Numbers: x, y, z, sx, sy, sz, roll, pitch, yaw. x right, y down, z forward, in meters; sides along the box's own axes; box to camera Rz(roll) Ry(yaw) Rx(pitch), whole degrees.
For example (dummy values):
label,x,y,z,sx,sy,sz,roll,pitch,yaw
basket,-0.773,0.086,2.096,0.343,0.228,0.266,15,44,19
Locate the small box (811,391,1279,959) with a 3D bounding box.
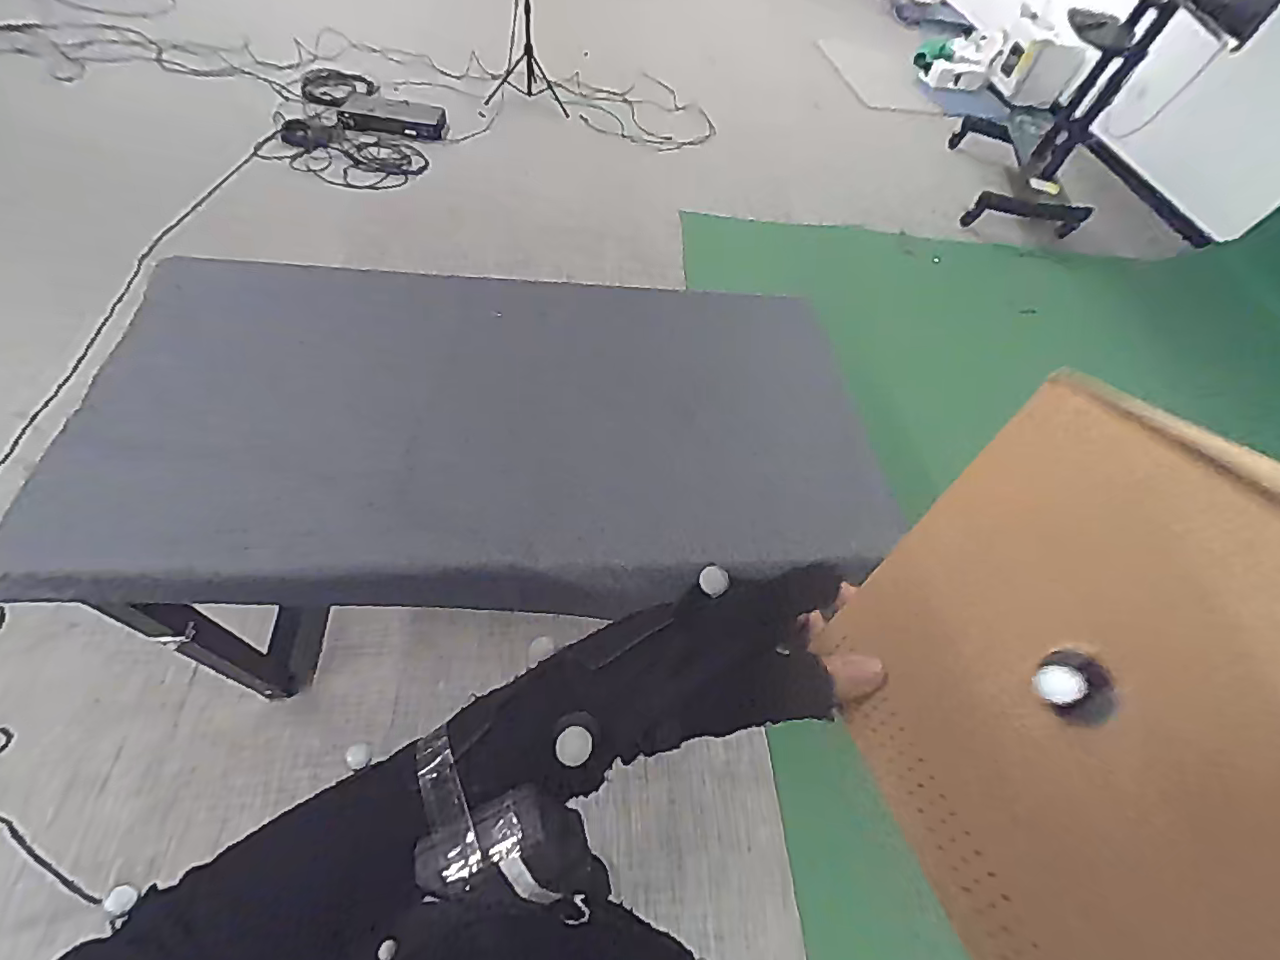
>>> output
label,x,y,z,sx,sy,sz,roll,pitch,yaw
small box,0.204,0.096,0.207,0.168,0.176,0.179,11,34,-25
